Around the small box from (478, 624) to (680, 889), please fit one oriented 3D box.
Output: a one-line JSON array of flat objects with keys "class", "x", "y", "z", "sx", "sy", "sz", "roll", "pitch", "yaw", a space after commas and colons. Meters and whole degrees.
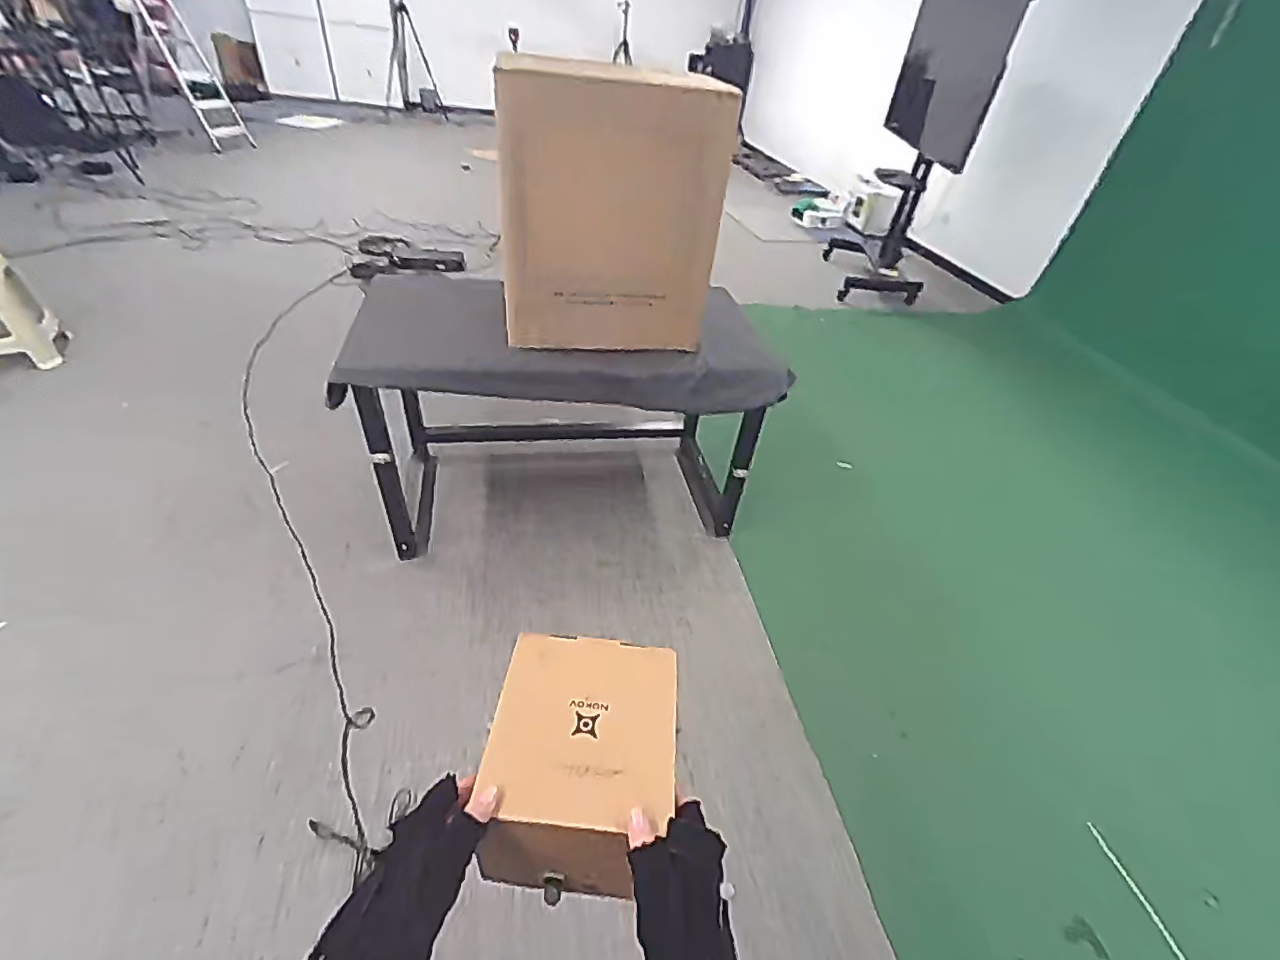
[{"class": "small box", "x": -0.052, "y": 0.275, "z": 0.547, "sx": 0.168, "sy": 0.176, "sz": 0.179, "roll": 6, "pitch": 38, "yaw": 0}]
